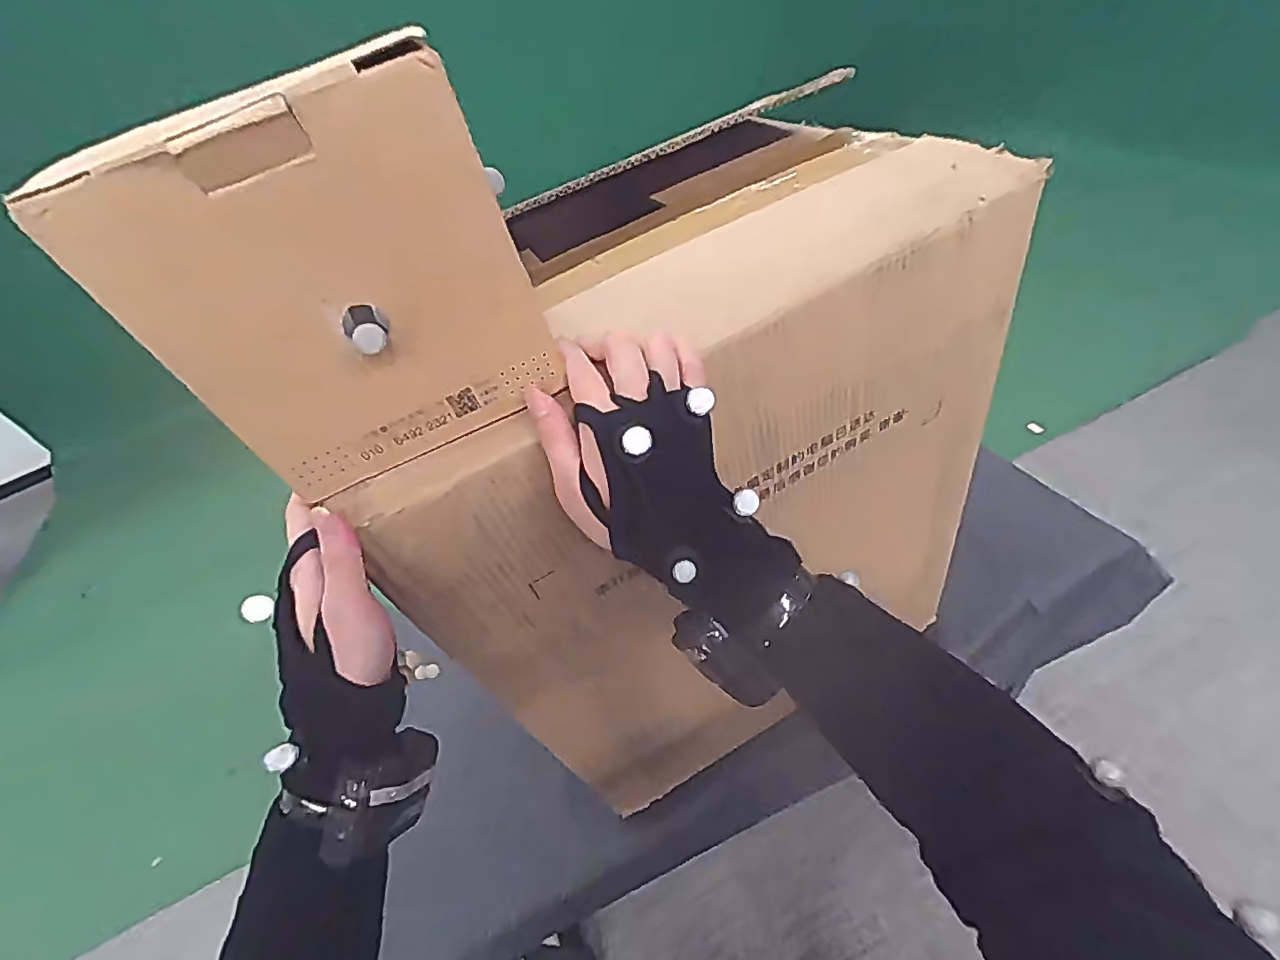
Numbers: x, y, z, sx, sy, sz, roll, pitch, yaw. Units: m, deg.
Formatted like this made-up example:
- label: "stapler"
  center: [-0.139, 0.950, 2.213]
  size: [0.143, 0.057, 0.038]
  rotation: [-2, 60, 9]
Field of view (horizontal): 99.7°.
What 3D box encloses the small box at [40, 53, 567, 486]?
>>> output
- label: "small box"
  center: [-0.161, -0.119, 0.321]
  size: [0.168, 0.176, 0.179]
  rotation: [-26, 45, -7]
